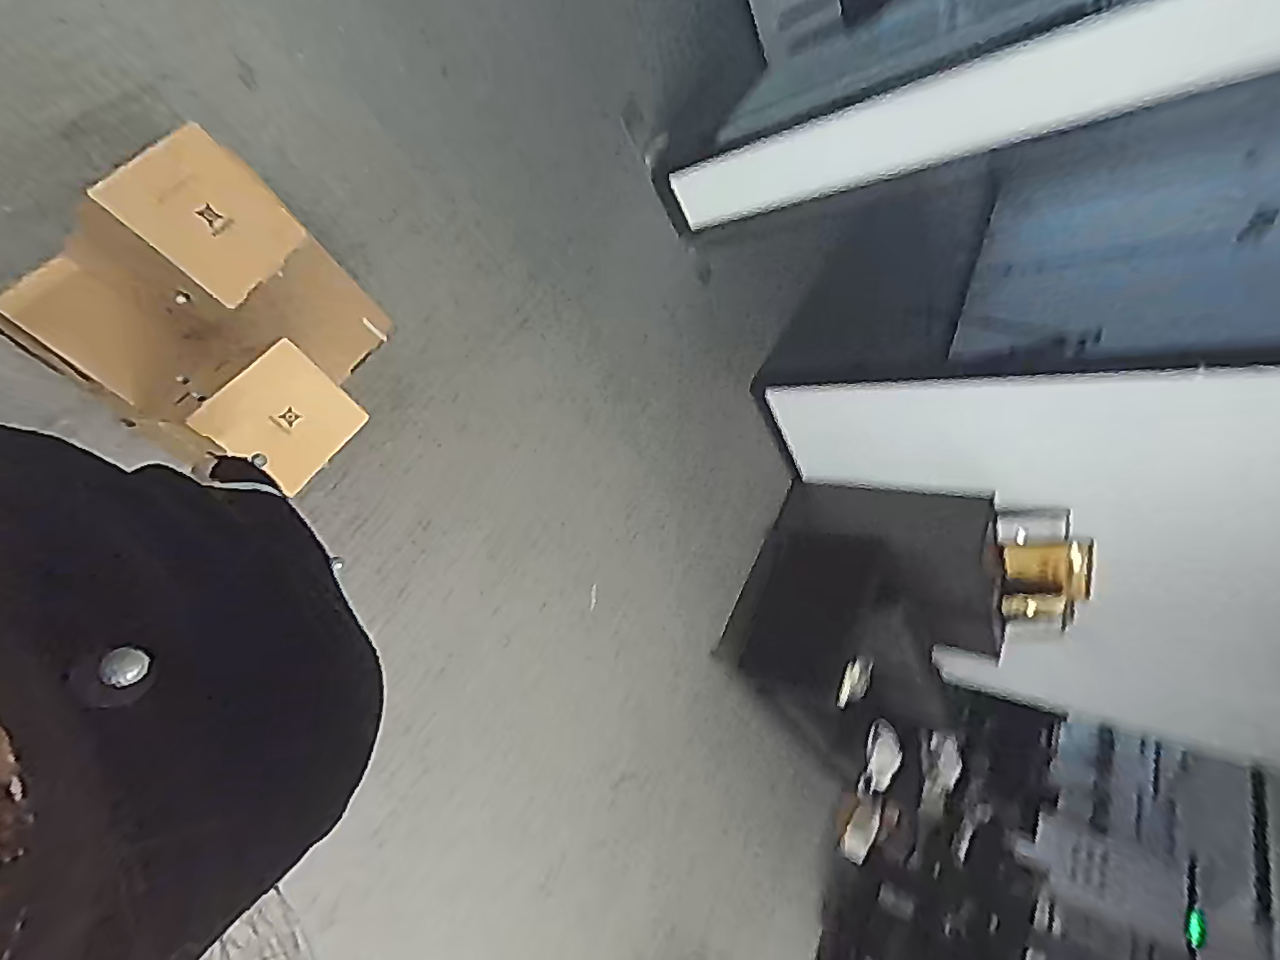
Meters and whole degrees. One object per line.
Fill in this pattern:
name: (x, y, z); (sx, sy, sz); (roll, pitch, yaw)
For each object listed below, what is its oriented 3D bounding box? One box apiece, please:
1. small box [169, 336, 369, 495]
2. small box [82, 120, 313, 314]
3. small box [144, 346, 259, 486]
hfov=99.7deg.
small box: (-0.576, -0.102, 0.840); (0.179, 0.176, 0.168); (-58, 134, -27)
small box: (-0.620, -0.354, 0.763); (0.179, 0.176, 0.168); (51, 55, -39)
small box: (-0.702, -0.112, 0.944); (0.168, 0.176, 0.179); (-59, 134, -28)
